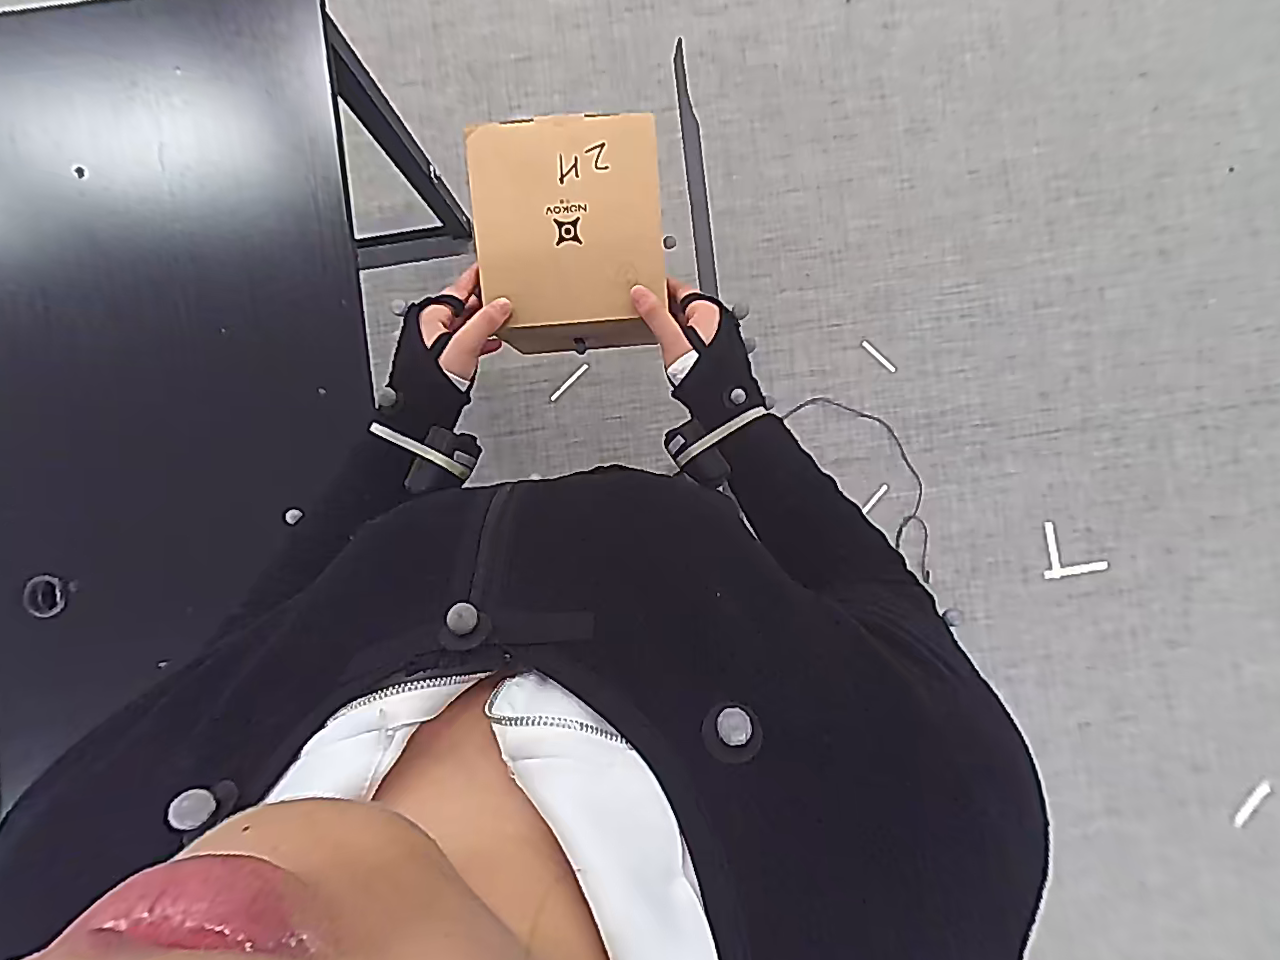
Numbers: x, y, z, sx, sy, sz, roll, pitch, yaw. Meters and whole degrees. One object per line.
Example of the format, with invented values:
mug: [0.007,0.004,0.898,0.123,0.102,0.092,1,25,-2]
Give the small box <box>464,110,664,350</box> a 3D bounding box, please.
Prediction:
small box: [-0.064,-0.233,0.551,0.168,0.176,0.179,-5,95,0]
